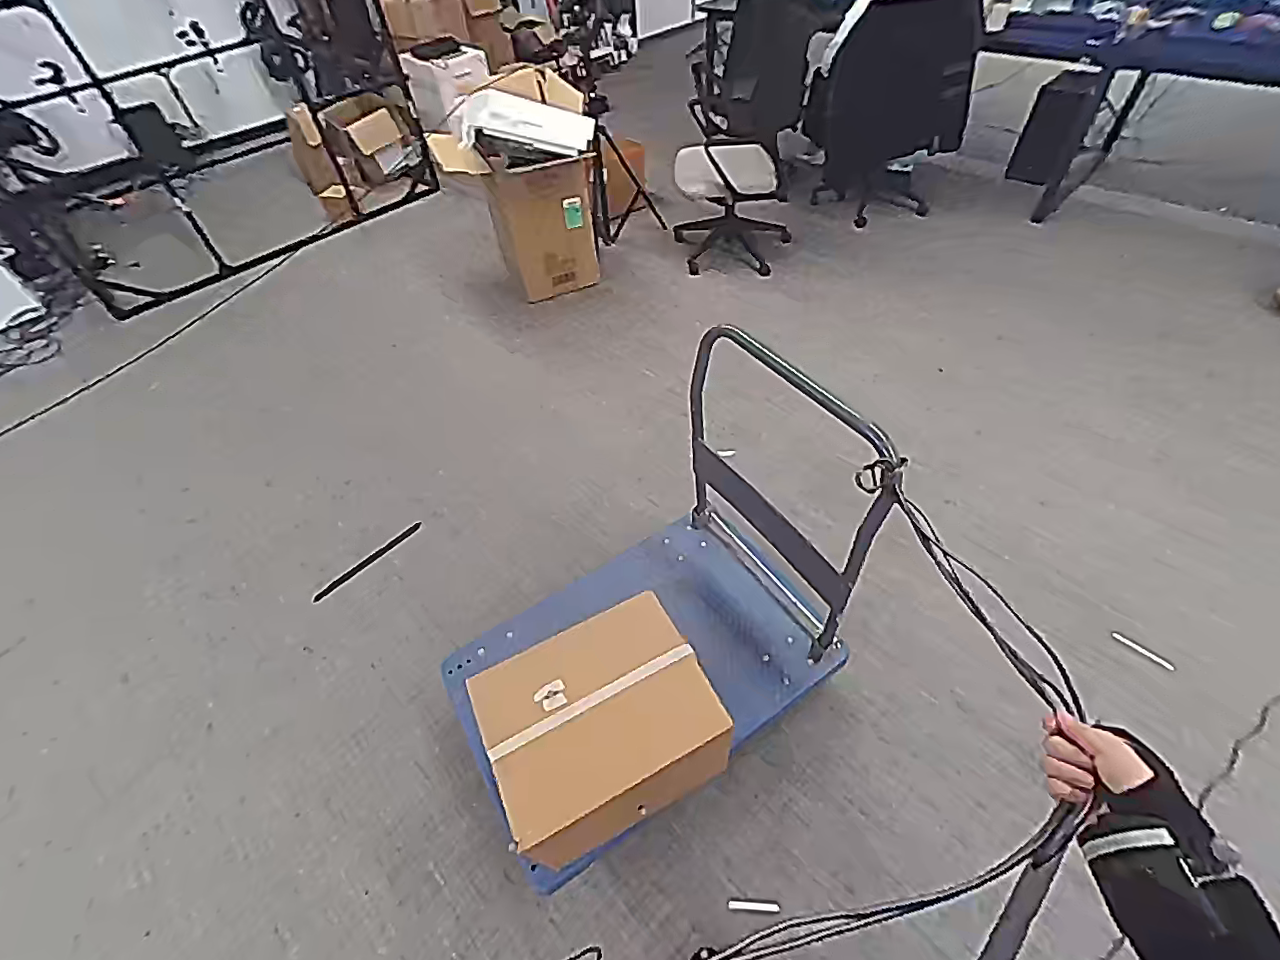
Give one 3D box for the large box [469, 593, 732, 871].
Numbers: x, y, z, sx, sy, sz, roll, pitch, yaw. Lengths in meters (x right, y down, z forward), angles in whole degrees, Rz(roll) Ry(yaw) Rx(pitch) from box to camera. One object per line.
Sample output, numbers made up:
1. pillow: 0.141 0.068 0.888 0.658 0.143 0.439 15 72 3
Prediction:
1. large box: -0.068 0.504 1.092 0.408 0.320 0.320 -24 51 -14
